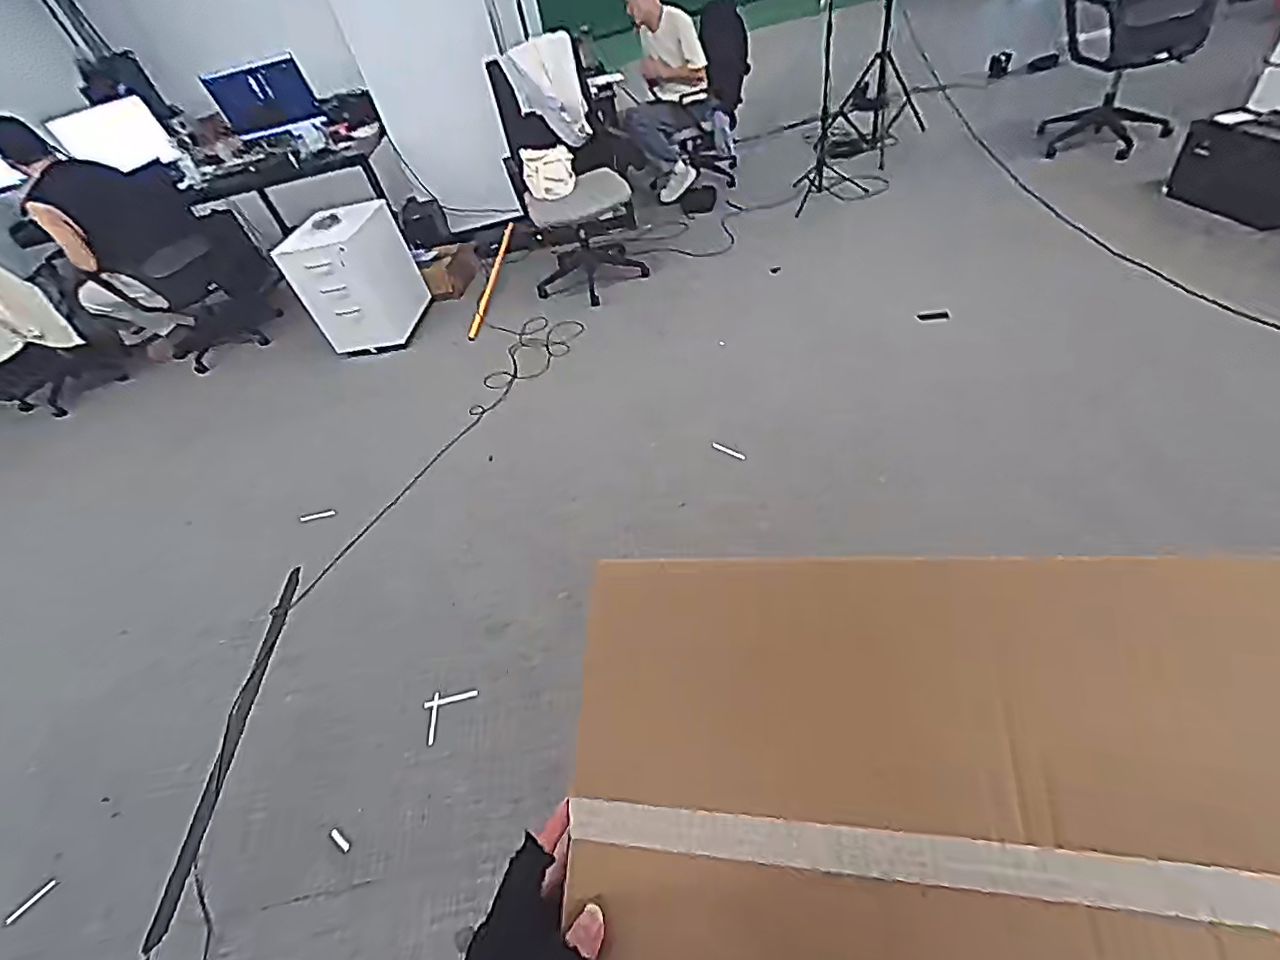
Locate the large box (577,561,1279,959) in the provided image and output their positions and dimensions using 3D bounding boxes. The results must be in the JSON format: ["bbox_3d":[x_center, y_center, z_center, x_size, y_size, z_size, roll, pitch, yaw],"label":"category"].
[{"bbox_3d":[0.196,0.253,0.410,0.408,0.320,0.320,-3,67,15],"label":"large box"}]
